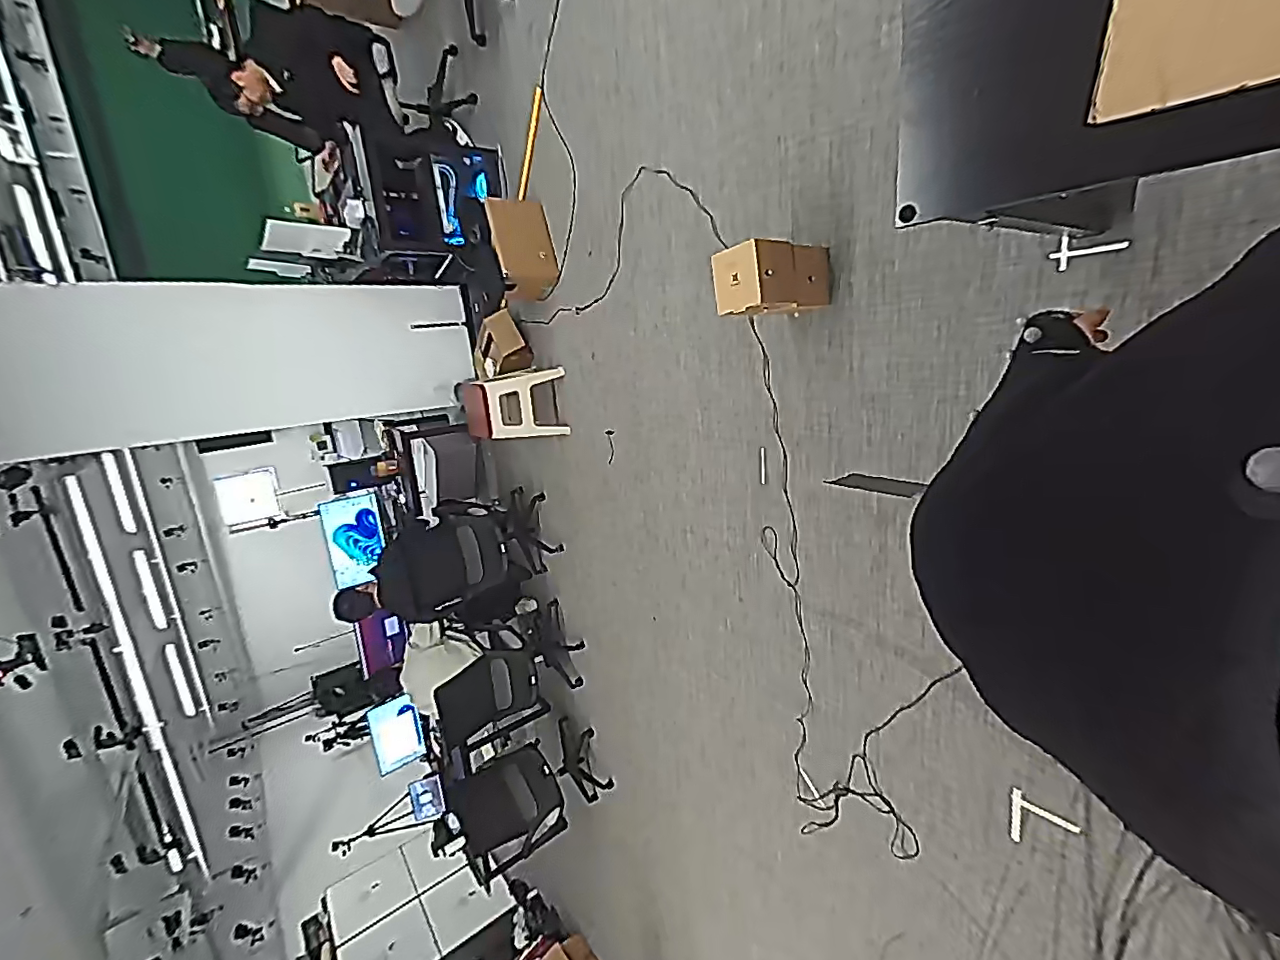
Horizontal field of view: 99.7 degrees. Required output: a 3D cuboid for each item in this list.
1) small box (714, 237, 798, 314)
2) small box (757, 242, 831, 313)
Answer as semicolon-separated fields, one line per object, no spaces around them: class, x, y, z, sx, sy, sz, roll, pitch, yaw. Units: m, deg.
small box;0.339;-0.588;1.566;0.168;0.176;0.179;4;104;53
small box;0.469;-0.616;1.661;0.168;0.176;0.179;8;109;53
